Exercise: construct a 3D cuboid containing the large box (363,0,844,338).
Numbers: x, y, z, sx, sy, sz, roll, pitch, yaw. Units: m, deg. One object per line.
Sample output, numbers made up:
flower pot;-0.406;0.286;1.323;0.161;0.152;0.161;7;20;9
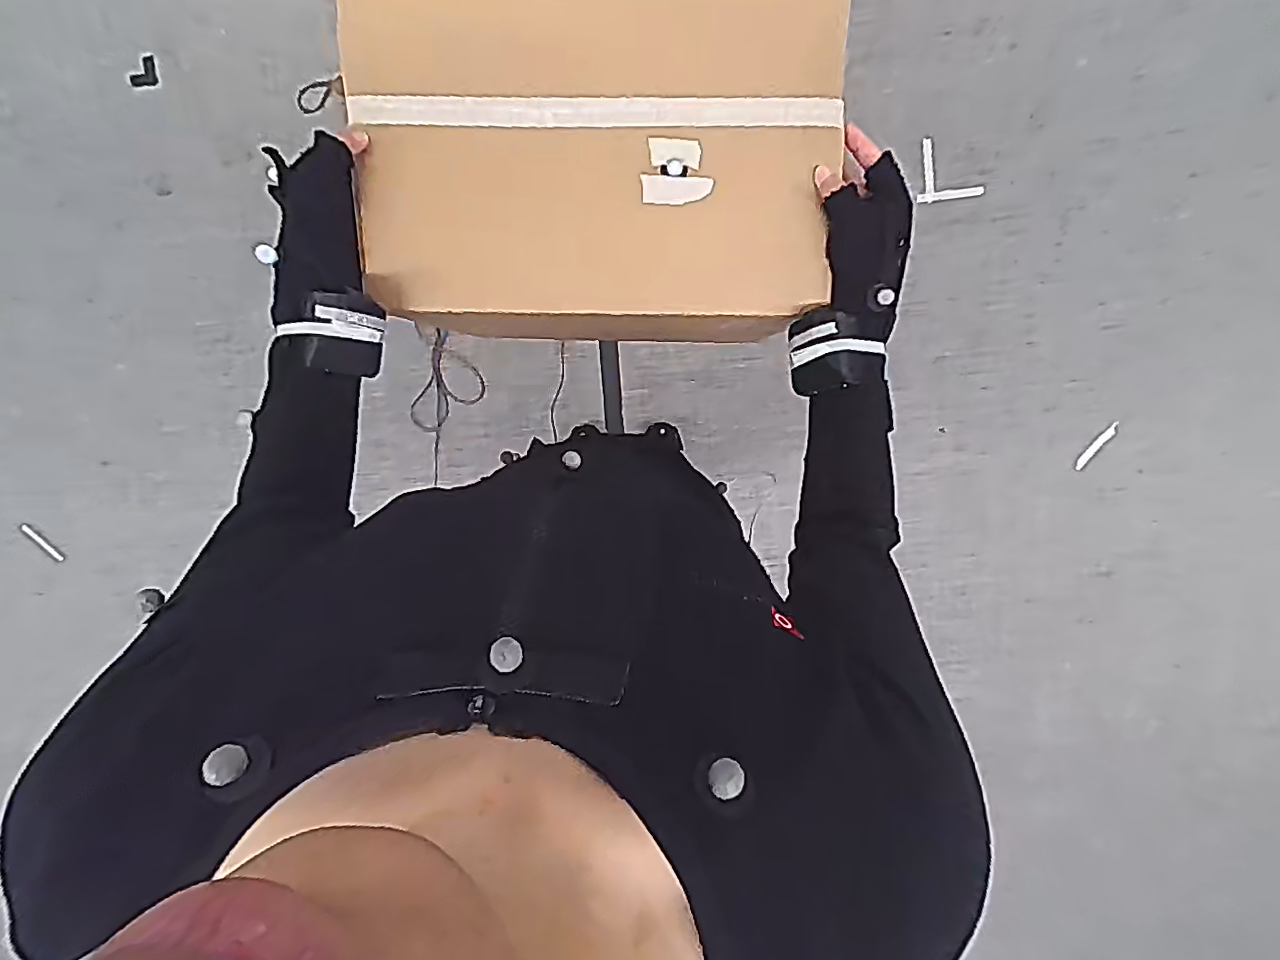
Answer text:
large box;-0.032;-0.332;0.606;0.408;0.320;0.320;1;101;0
